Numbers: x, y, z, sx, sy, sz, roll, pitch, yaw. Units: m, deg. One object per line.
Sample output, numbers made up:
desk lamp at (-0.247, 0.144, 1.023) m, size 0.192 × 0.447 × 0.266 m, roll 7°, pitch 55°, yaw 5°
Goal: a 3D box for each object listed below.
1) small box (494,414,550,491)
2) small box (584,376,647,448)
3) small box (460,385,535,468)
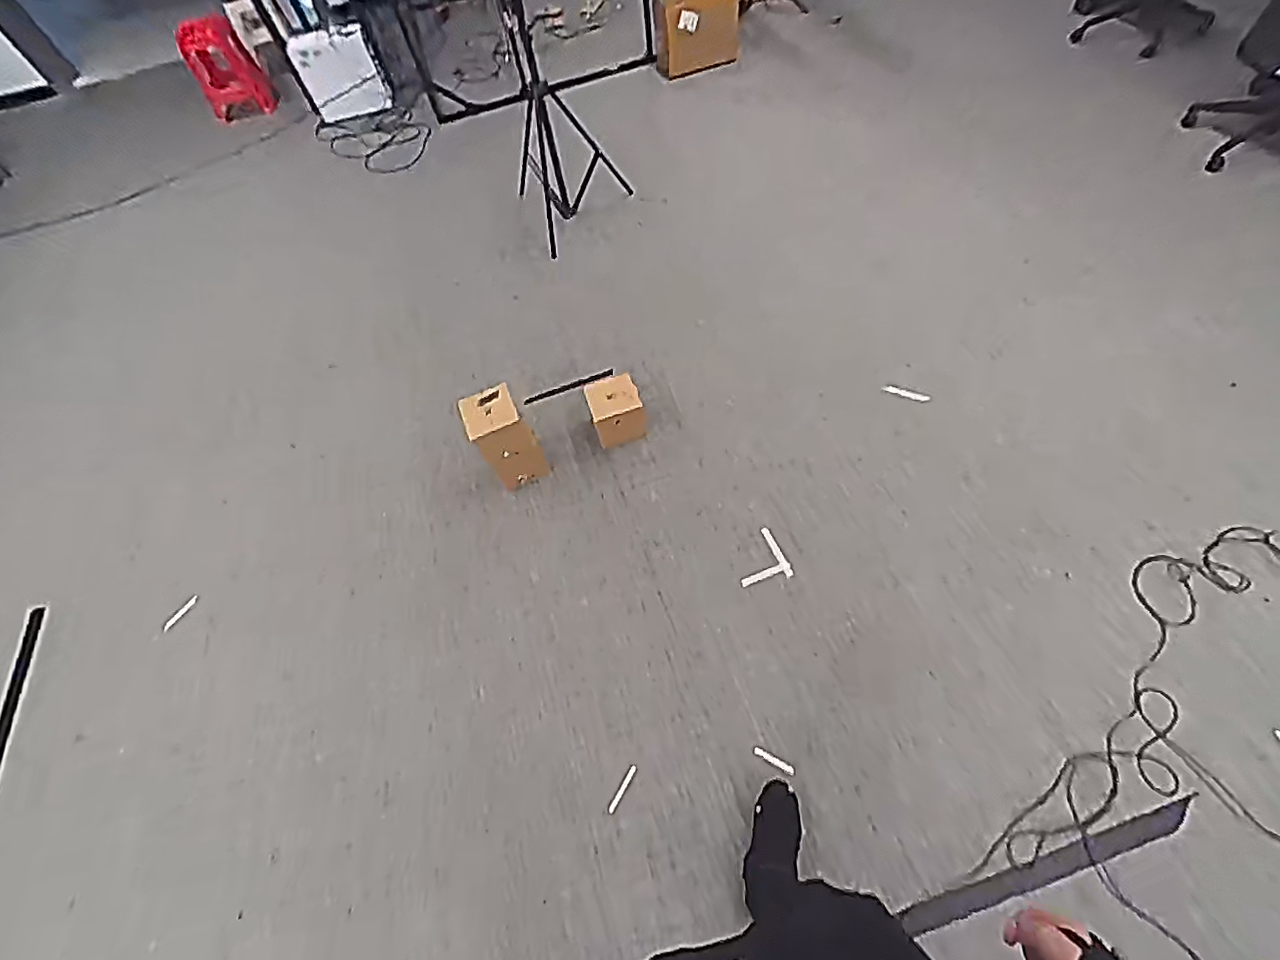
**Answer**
small box at (-0.437, -0.093, 1.903) m, size 0.168 × 0.176 × 0.179 m, roll -25°, pitch 59°, yaw -7°
small box at (-0.086, -0.238, 1.942) m, size 0.179 × 0.176 × 0.168 m, roll -18°, pitch 59°, yaw -4°
small box at (-0.462, -0.170, 1.761) m, size 0.168 × 0.176 × 0.179 m, roll -23°, pitch 59°, yaw -5°
